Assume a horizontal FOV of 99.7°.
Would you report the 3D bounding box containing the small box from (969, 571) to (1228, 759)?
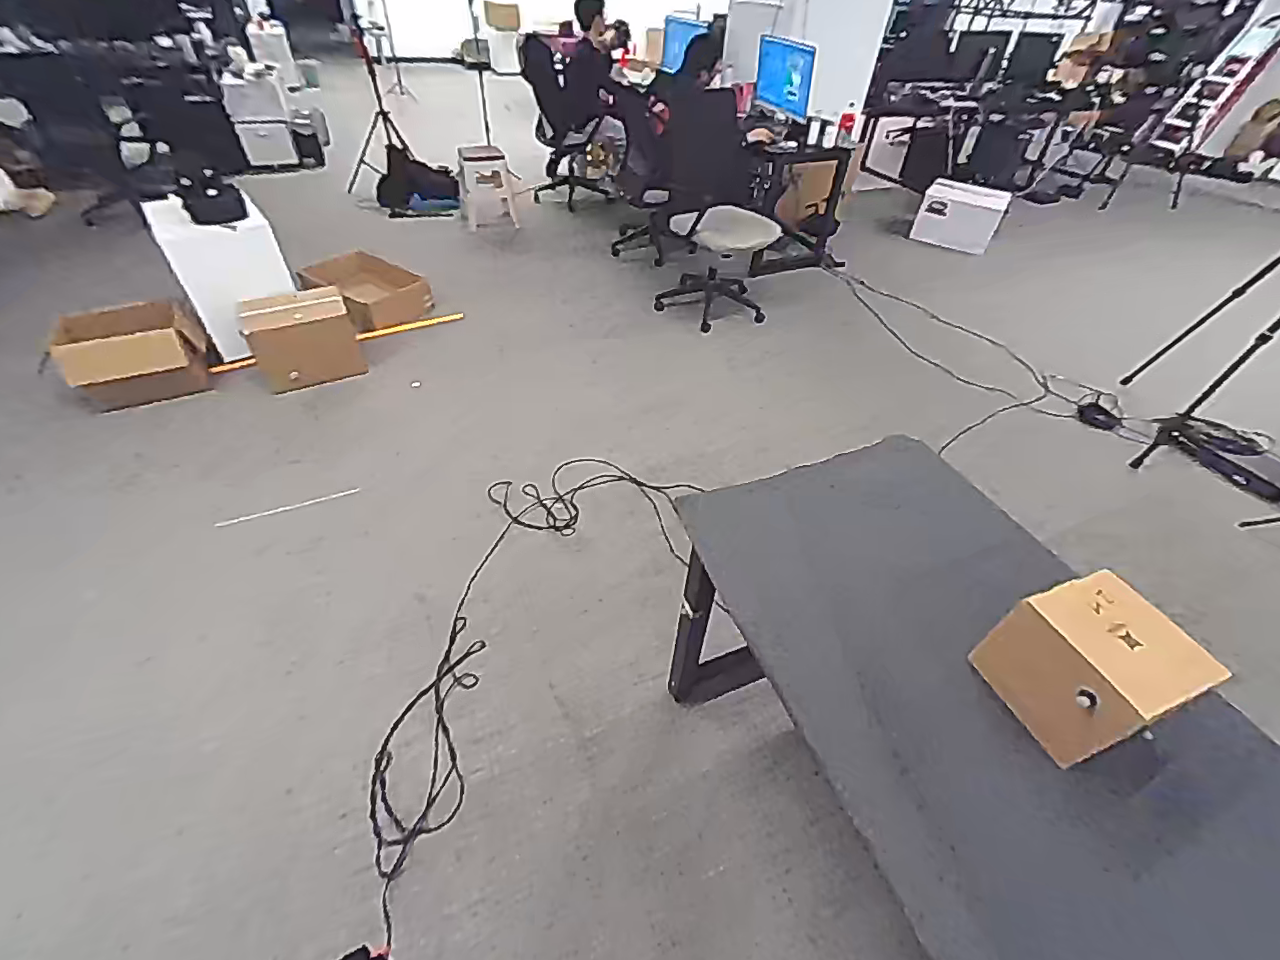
[{"bbox_3d":[0.615,0.261,0.753,0.168,0.176,0.179,-12,46,-17],"label":"small box"}]
